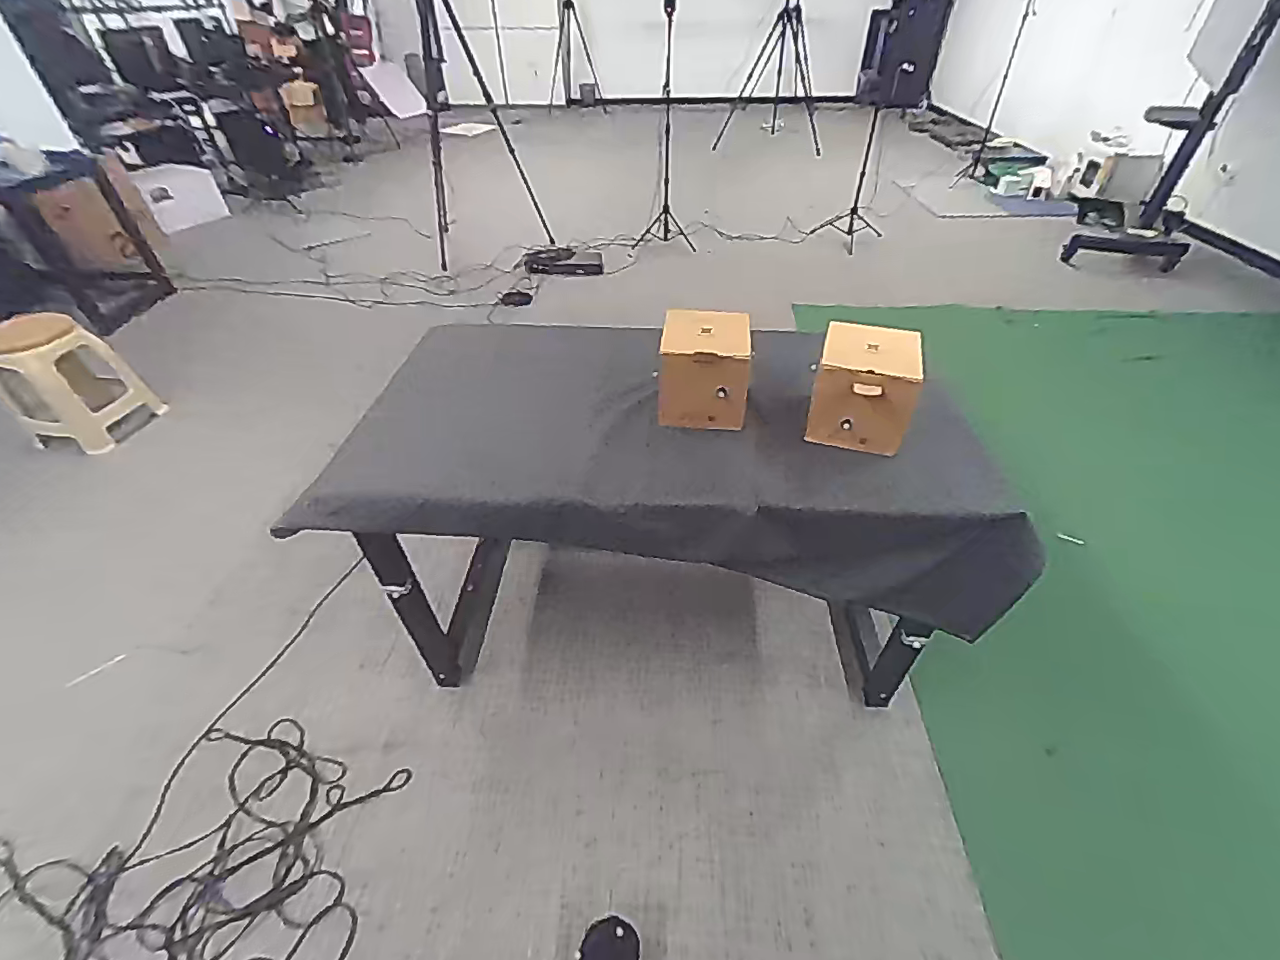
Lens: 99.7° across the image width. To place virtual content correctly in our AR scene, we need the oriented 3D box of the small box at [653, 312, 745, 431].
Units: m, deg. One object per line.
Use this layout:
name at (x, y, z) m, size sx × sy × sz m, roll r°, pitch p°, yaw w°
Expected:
small box at (0.115, -0.213, 1.068) m, size 0.168 × 0.176 × 0.179 m, roll 4°, pitch 41°, yaw 4°

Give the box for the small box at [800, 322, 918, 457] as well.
small box at (0.406, -0.172, 1.017) m, size 0.168 × 0.176 × 0.179 m, roll 12°, pitch 44°, yaw 14°
